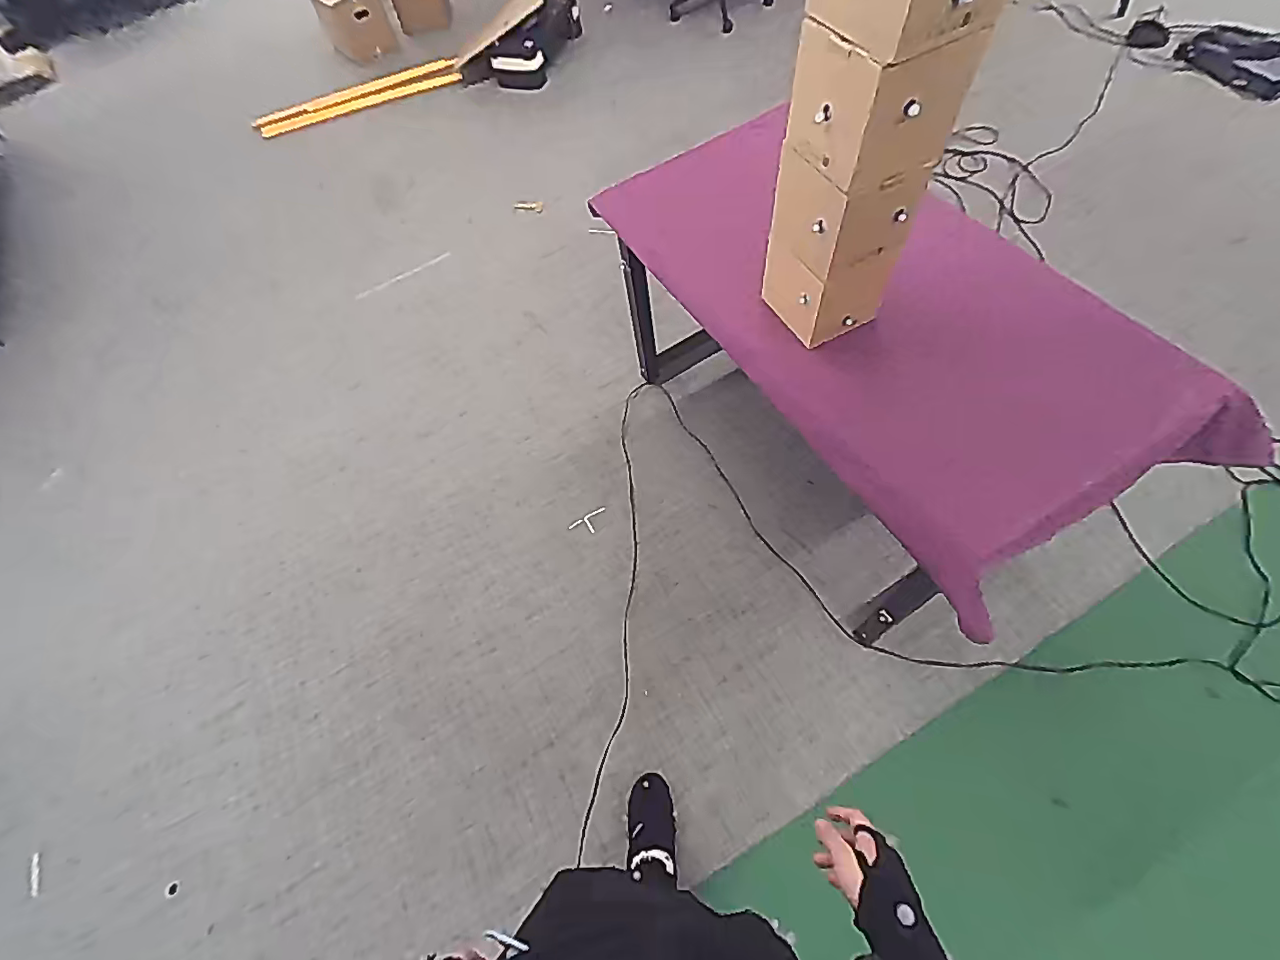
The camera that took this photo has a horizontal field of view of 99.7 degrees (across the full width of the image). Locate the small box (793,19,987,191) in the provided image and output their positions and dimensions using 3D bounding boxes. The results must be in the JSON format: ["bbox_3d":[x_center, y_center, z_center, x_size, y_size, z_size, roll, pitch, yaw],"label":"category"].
[{"bbox_3d":[0.337,-0.553,0.776,0.179,0.176,0.168,-26,63,-7],"label":"small box"}]

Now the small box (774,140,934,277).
[{"bbox_3d":[0.348,-0.473,0.917,0.168,0.176,0.179,-26,62,-8],"label":"small box"}]

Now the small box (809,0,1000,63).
[{"bbox_3d":[0.323,-0.633,0.632,0.168,0.176,0.179,-27,63,-9],"label":"small box"}]
